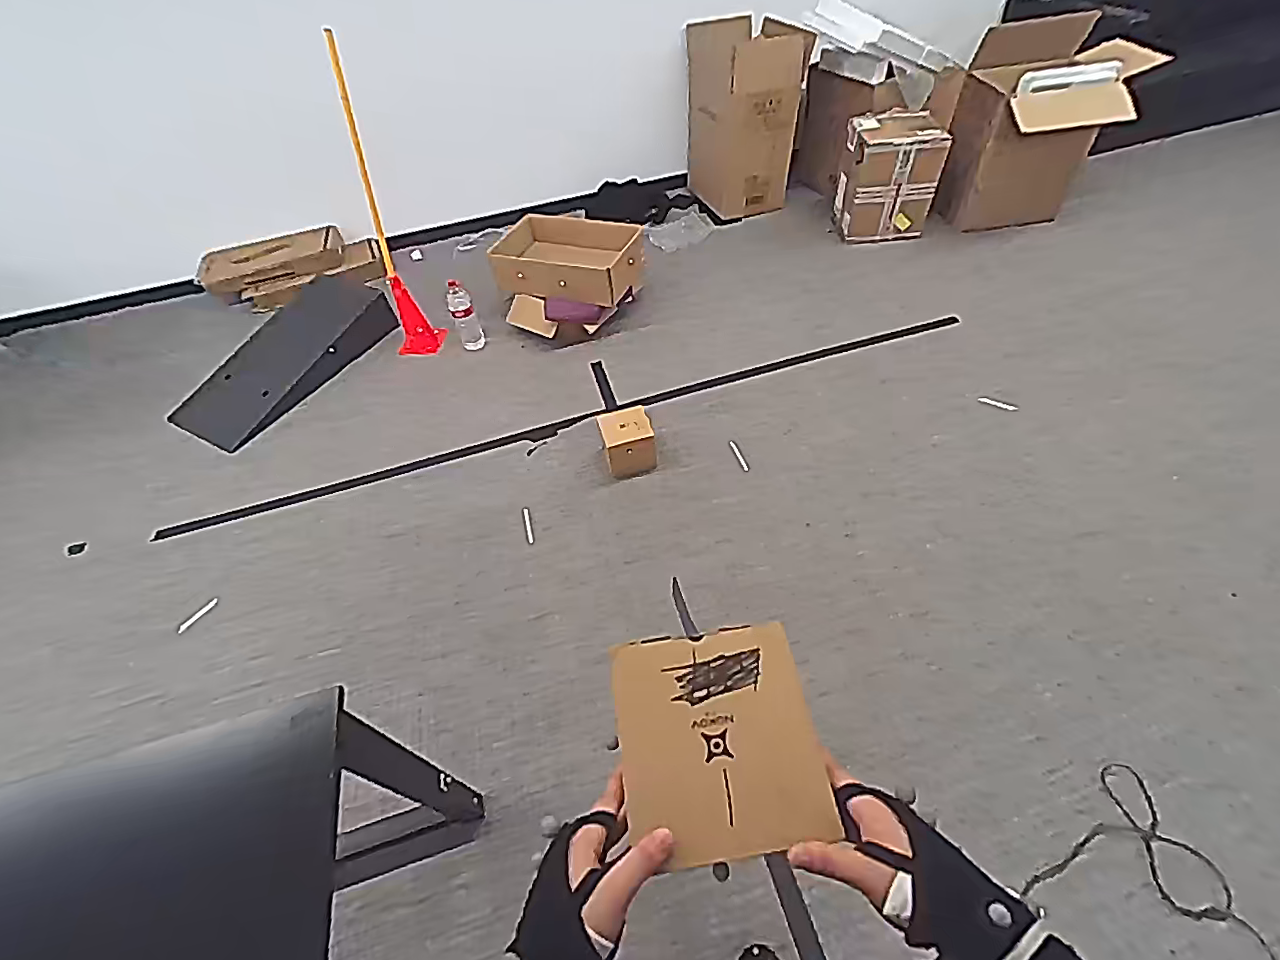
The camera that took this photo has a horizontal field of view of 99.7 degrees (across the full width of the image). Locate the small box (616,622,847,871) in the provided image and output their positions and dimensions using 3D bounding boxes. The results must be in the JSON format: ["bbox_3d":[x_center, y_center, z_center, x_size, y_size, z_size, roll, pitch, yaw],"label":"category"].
[{"bbox_3d":[0.068,0.258,0.520,0.168,0.176,0.179,-7,56,-3],"label":"small box"}]

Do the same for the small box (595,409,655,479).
[{"bbox_3d":[-0.053,-0.127,1.974,0.179,0.176,0.168,-15,51,-7],"label":"small box"}]
